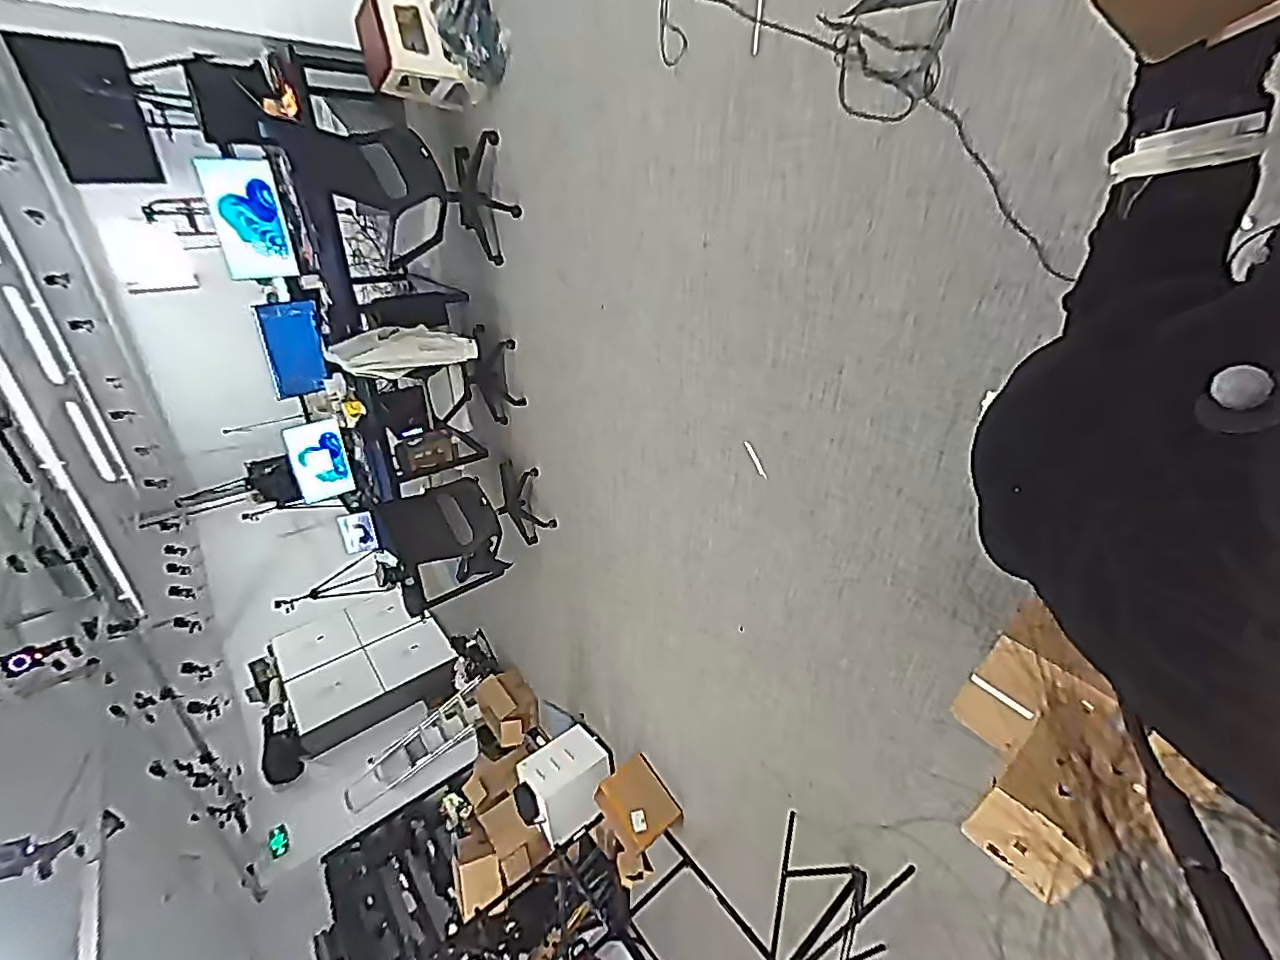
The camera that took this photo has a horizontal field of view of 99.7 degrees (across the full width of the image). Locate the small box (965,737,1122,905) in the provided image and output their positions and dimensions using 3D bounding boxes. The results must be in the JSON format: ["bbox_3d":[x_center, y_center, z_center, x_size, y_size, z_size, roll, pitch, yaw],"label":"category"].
[{"bbox_3d":[0.758,0.628,1.015,0.168,0.176,0.179,36,134,38],"label":"small box"}]

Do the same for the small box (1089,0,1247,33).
[{"bbox_3d":[0.272,-0.318,0.205,0.168,0.176,0.179,-9,99,51],"label":"small box"}]
